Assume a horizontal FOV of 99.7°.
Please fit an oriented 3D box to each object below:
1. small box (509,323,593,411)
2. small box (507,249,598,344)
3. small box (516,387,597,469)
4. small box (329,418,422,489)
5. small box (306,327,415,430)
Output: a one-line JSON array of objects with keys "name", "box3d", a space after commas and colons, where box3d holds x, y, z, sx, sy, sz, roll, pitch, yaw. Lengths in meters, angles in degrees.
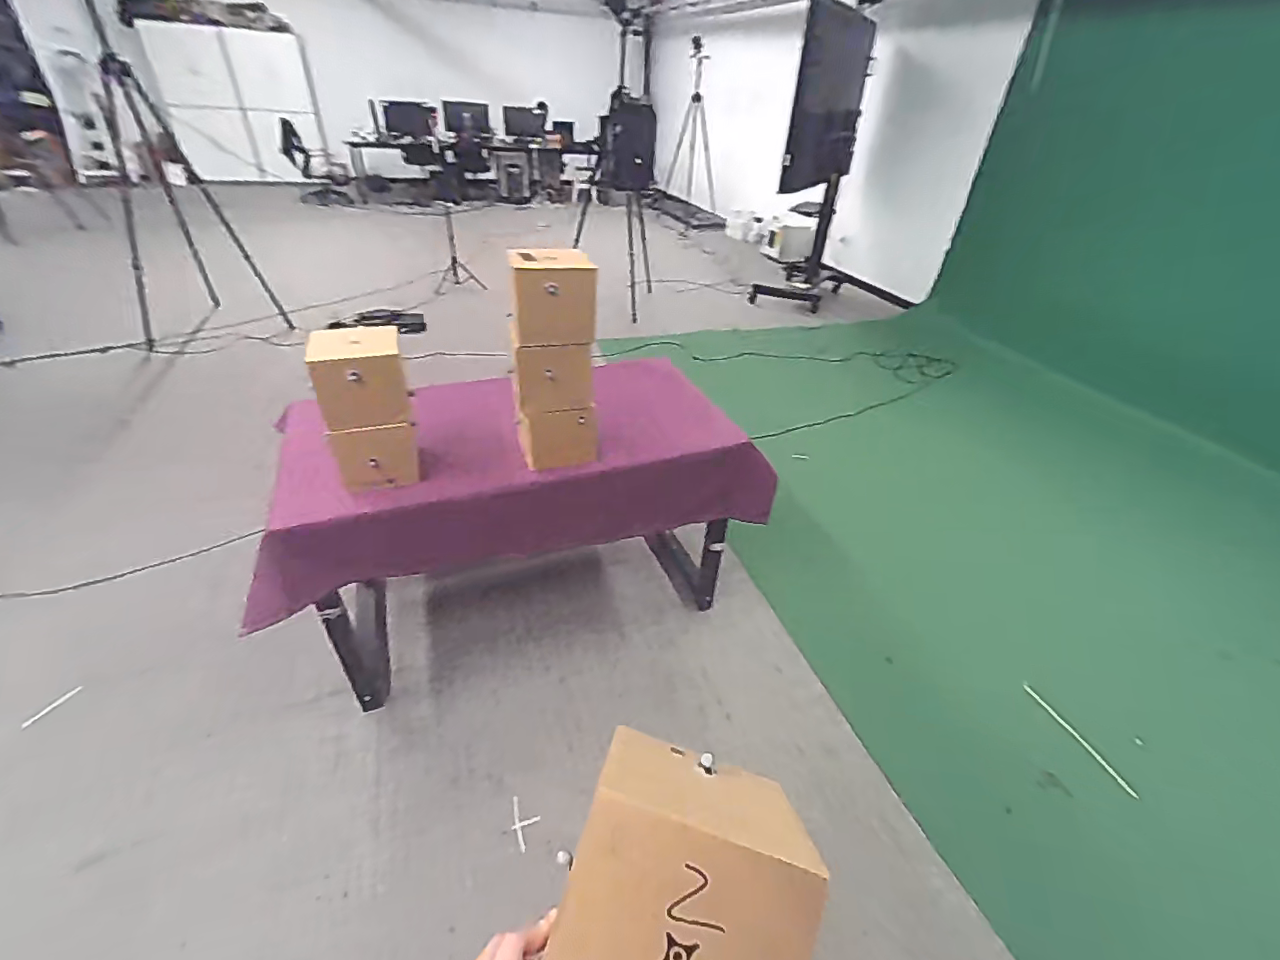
[{"name": "small box", "box3d": [-0.213, -0.277, 1.308, 0.179, 0.176, 0.168, -8, 38, -15]}, {"name": "small box", "box3d": [-0.196, -0.411, 1.213, 0.179, 0.176, 0.168, -7, 37, -16]}, {"name": "small box", "box3d": [-0.215, -0.145, 1.406, 0.179, 0.176, 0.168, -10, 38, -18]}, {"name": "small box", "box3d": [-0.623, -0.090, 1.293, 0.168, 0.176, 0.179, -9, 38, -17]}, {"name": "small box", "box3d": [-0.610, -0.224, 1.200, 0.179, 0.176, 0.168, -10, 39, -18]}]
